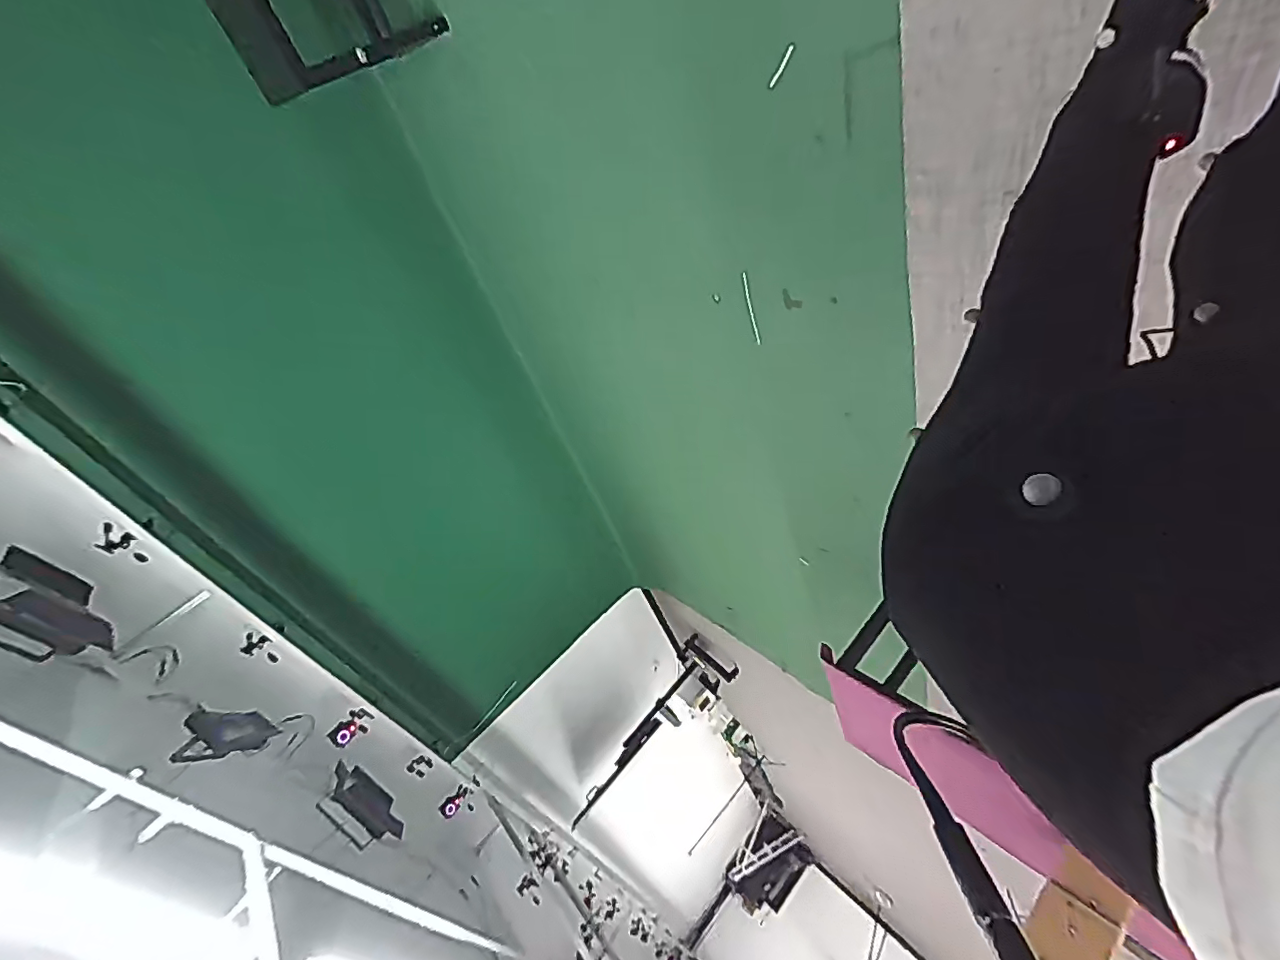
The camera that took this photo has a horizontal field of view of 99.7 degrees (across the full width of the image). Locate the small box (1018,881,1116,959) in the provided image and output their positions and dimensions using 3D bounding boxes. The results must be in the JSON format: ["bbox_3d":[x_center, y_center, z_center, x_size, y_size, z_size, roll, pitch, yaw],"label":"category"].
[{"bbox_3d":[1.145,1.232,1.452,0.168,0.176,0.179,21,146,50],"label":"small box"}]

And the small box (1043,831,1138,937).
[{"bbox_3d":[1.266,1.143,1.522,0.168,0.176,0.179,18,144,50],"label":"small box"}]
